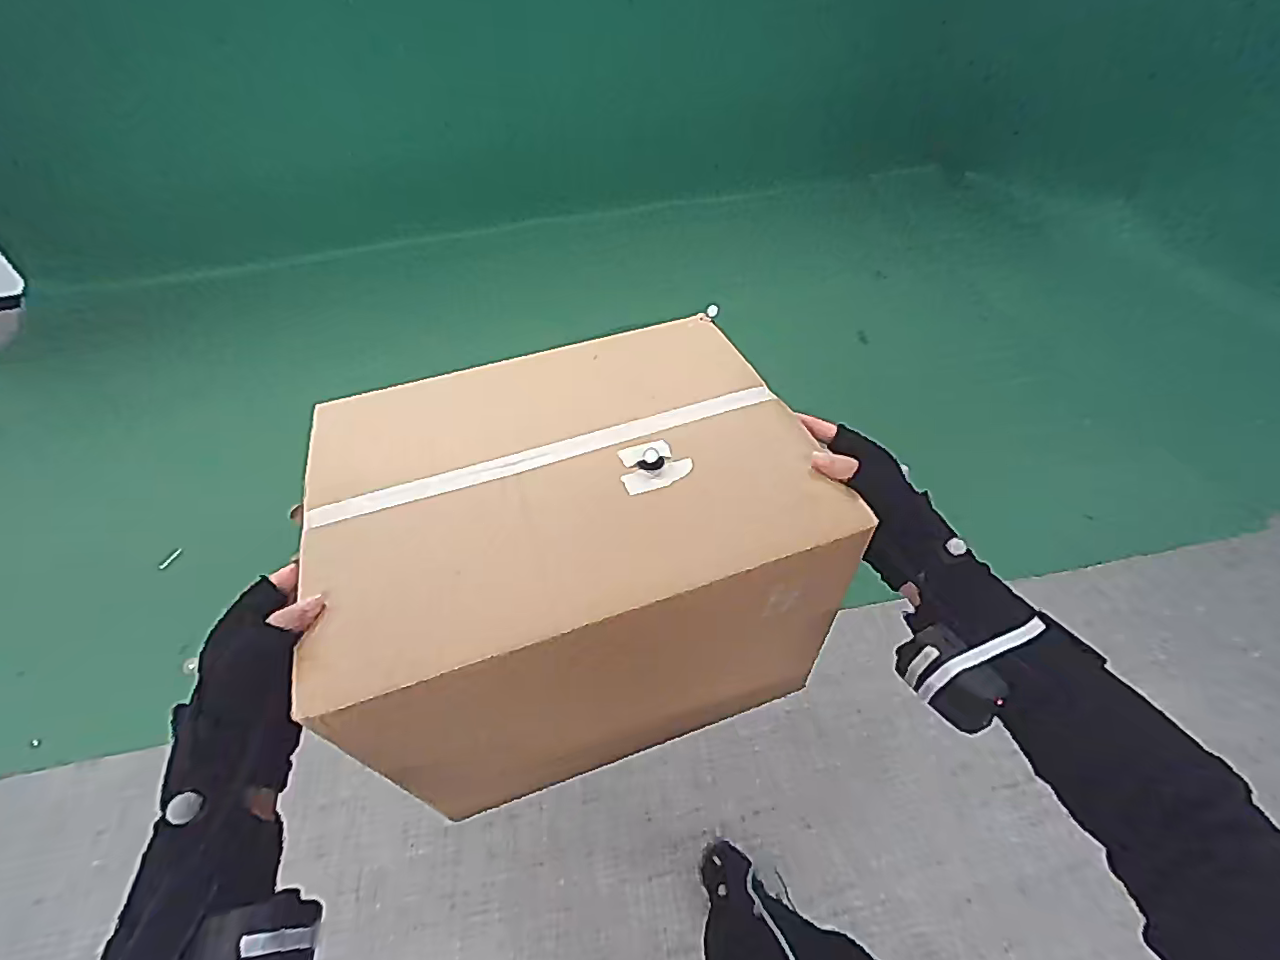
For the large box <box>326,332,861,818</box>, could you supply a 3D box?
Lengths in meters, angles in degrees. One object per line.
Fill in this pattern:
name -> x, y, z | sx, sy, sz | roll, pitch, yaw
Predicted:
large box -> -0.057, 0.090, 0.581 | 0.408, 0.320, 0.320 | -16, 49, -12
